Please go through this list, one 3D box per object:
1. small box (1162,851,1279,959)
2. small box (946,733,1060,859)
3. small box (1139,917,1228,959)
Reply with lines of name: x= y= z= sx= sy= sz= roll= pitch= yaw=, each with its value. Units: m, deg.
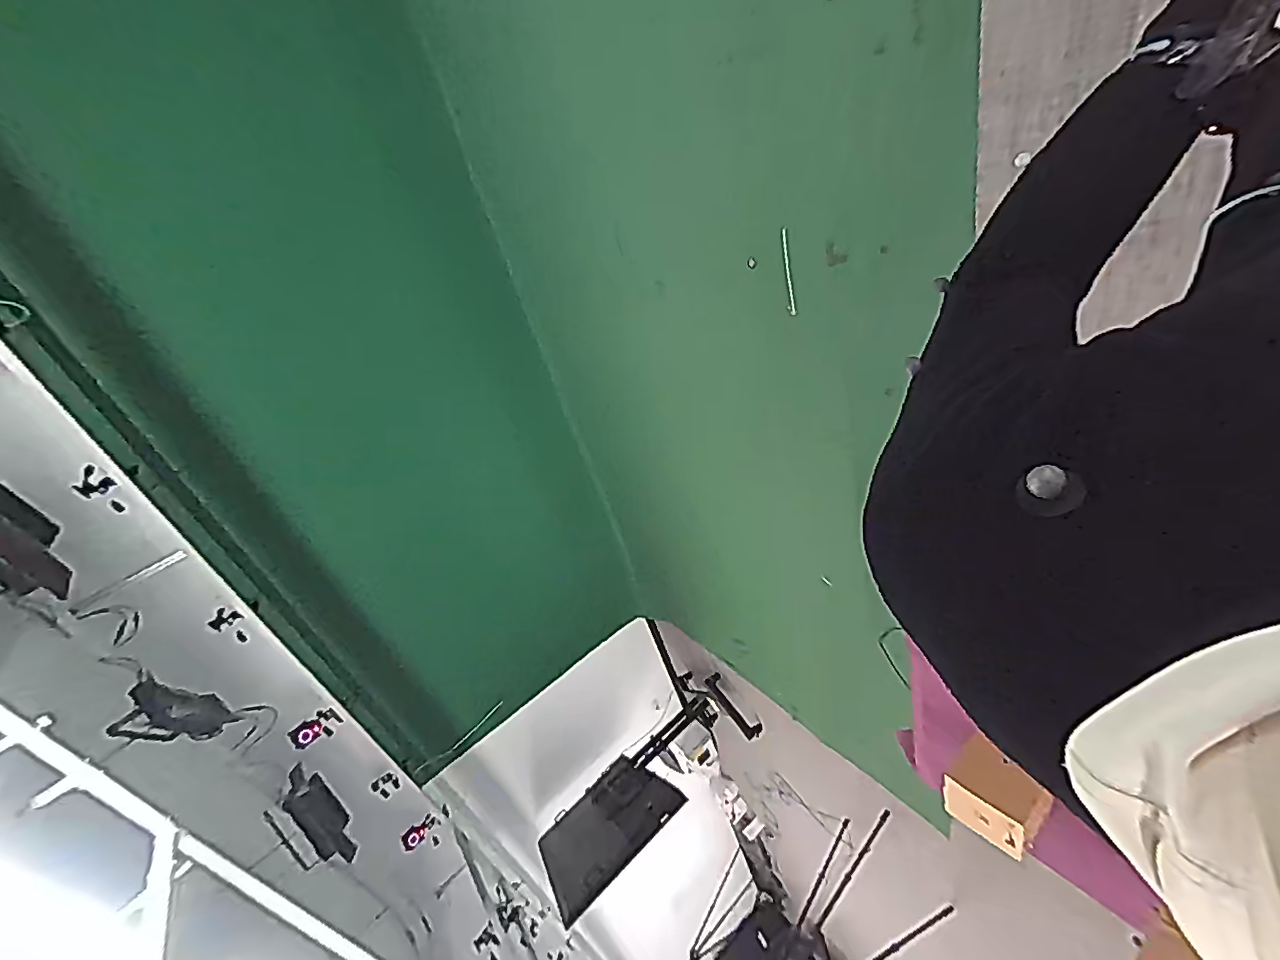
small box: x=1.106 y=0.852 z=1.013 sx=0.168 sy=0.176 sz=0.179 roll=22 pitch=141 yaw=51
small box: x=0.876 y=0.753 z=1.314 sx=0.179 sy=0.176 sz=0.168 roll=23 pitch=141 yaw=50
small box: x=0.983 y=0.933 z=0.946 sx=0.179 sy=0.176 sz=0.168 roll=23 pitch=140 yaw=52
